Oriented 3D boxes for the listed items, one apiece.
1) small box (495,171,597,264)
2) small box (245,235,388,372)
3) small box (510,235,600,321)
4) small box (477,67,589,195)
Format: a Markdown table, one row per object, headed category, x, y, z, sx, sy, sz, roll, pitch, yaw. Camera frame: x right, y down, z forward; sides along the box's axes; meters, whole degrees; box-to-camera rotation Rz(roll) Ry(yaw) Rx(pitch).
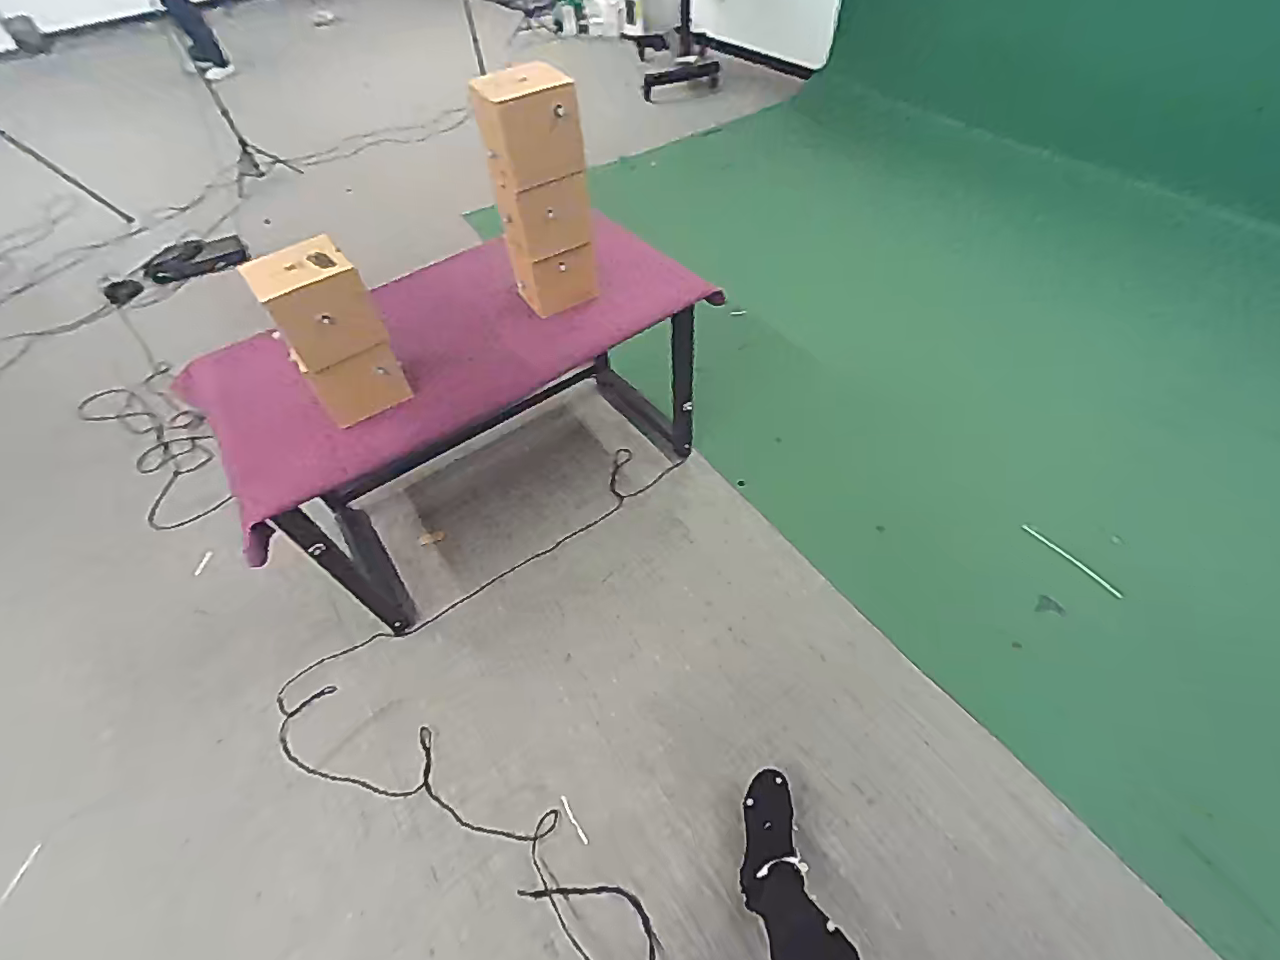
| category | x | y | z | sx | sy | sz | roll | pitch | yaw |
| --- | --- | --- | --- | --- | --- | --- | --- | --- | --- |
| small box | -0.218 | -0.644 | 1.289 | 0.179 | 0.176 | 0.168 | -27 | 57 | -15 |
| small box | -0.633 | -0.351 | 1.082 | 0.179 | 0.176 | 0.168 | -33 | 58 | -20 |
| small box | -0.216 | -0.552 | 1.425 | 0.179 | 0.176 | 0.168 | -27 | 56 | -16 |
| small box | -0.219 | -0.744 | 1.157 | 0.179 | 0.176 | 0.168 | -27 | 55 | -15 |
